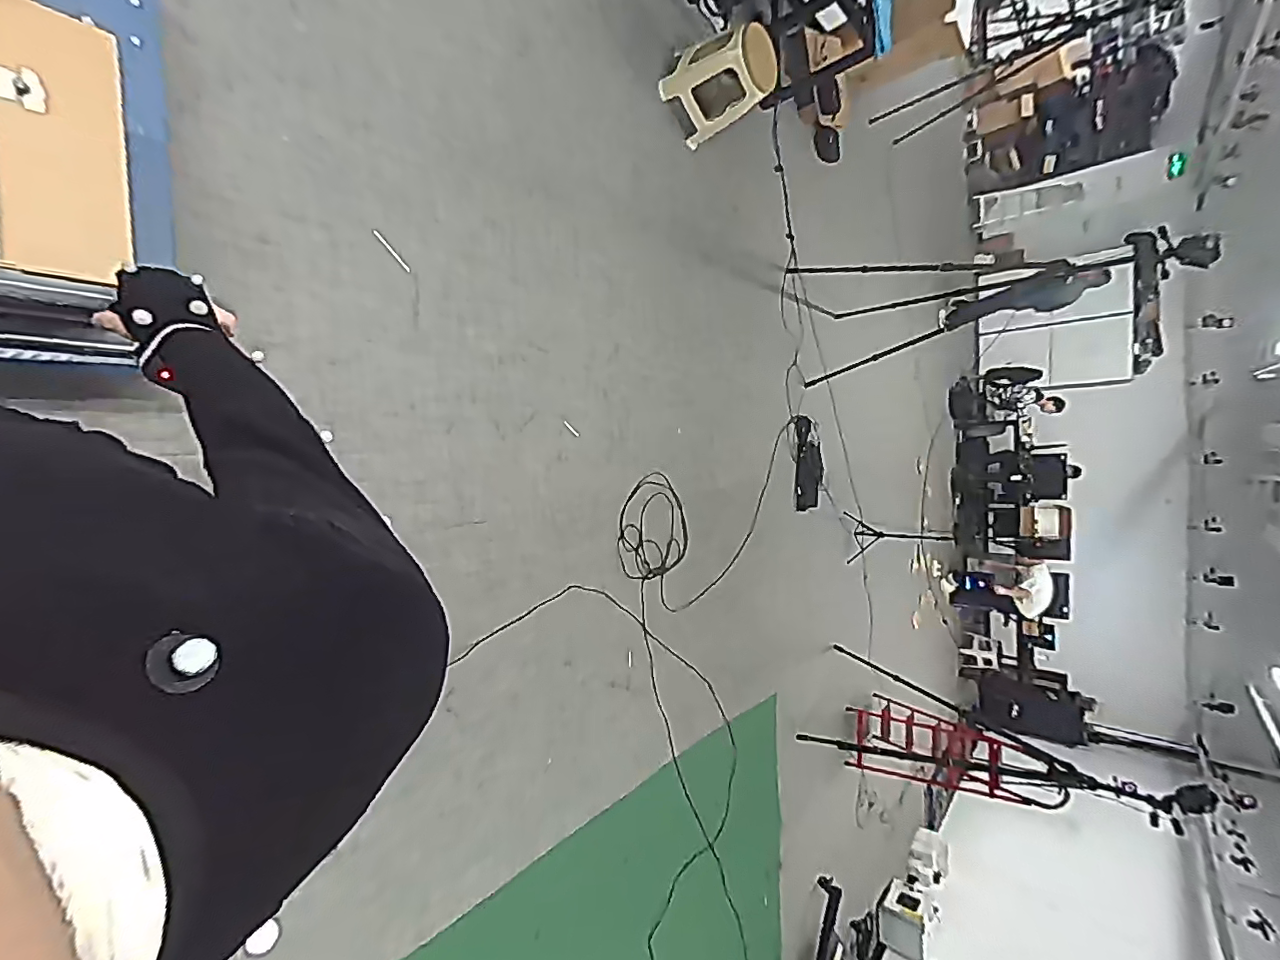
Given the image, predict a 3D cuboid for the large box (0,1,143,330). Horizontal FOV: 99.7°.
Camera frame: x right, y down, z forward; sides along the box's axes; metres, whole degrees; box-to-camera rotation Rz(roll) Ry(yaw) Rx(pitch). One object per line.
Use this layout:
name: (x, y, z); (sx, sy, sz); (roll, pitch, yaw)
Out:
large box: (-1.038, -0.485, 0.863); (0.320, 0.320, 0.408); (-5, 93, -49)
